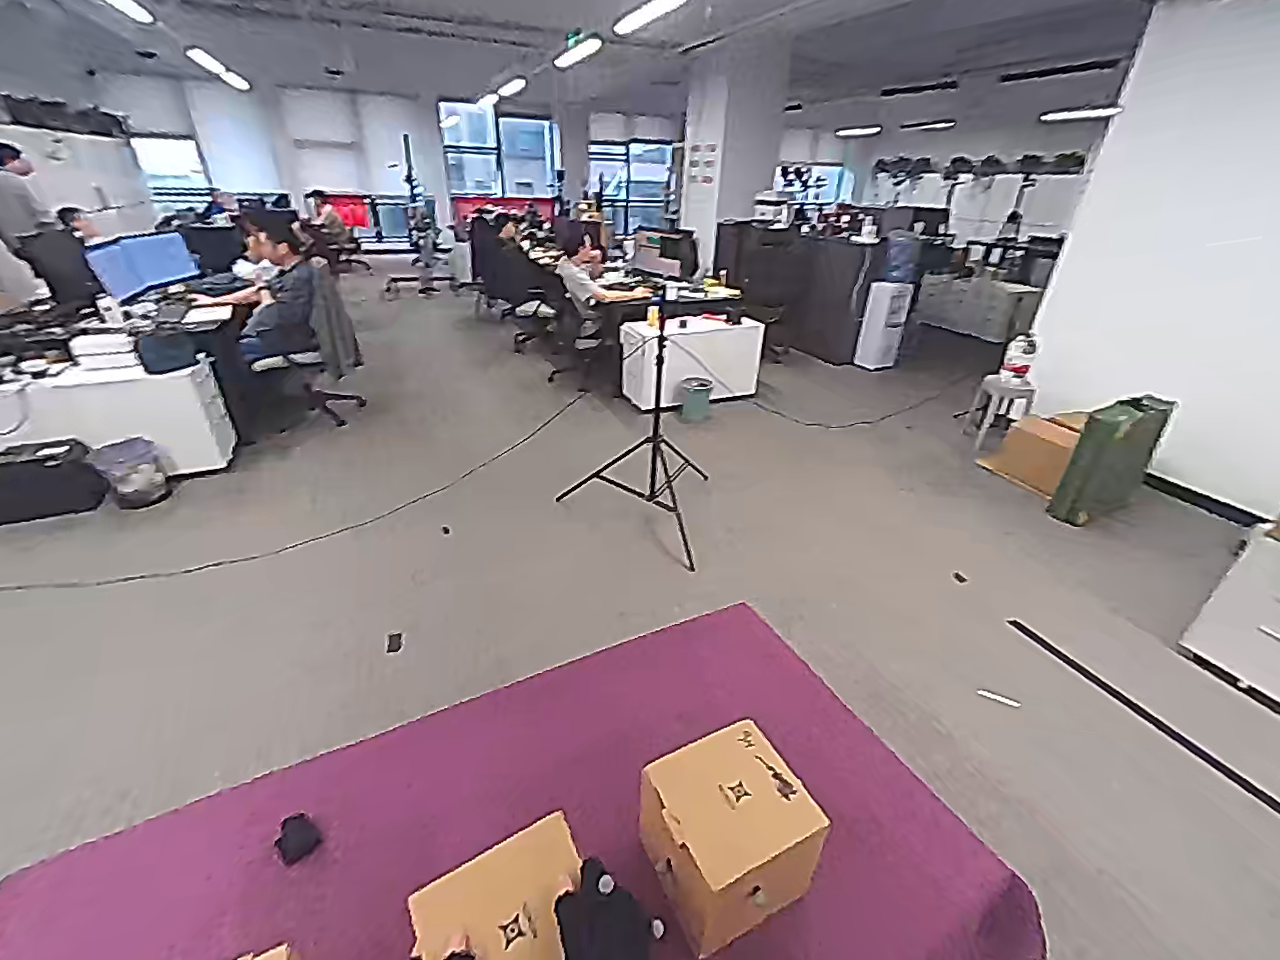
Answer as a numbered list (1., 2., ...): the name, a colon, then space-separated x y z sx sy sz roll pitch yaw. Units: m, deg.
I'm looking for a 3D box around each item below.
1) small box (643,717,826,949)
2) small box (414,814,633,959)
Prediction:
1. small box: 0.116 0.465 0.723 0.179 0.176 0.168 -14 32 -24
2. small box: -0.126 0.522 0.591 0.179 0.176 0.168 -18 39 -28
